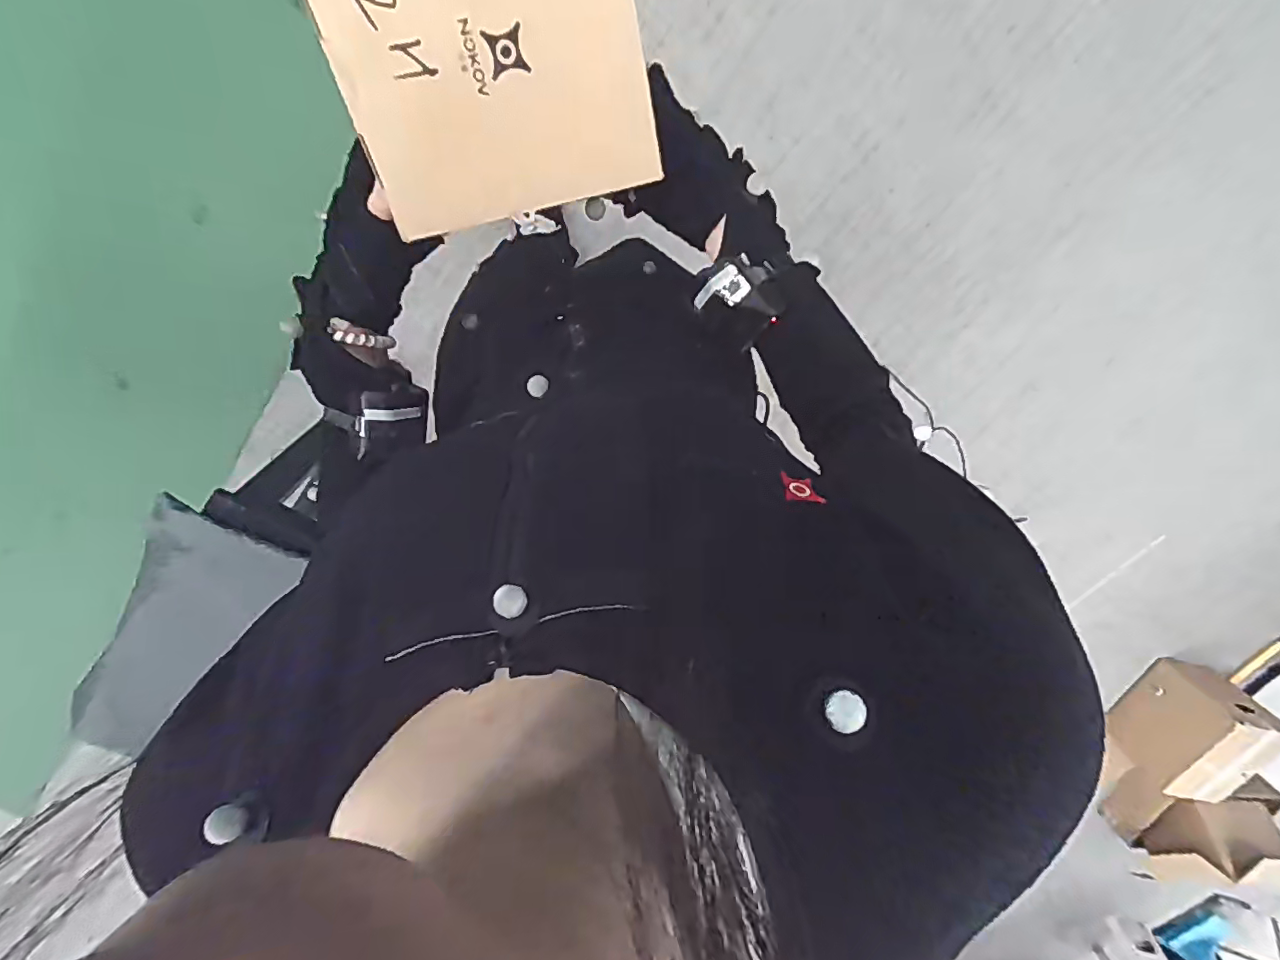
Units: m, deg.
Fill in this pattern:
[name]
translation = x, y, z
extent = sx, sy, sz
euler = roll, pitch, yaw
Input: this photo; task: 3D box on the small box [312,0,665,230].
[small box]
translation = -0.095, -0.285, 0.368
extent = 0.179, 0.176, 0.168
euler = -15, 122, -3
